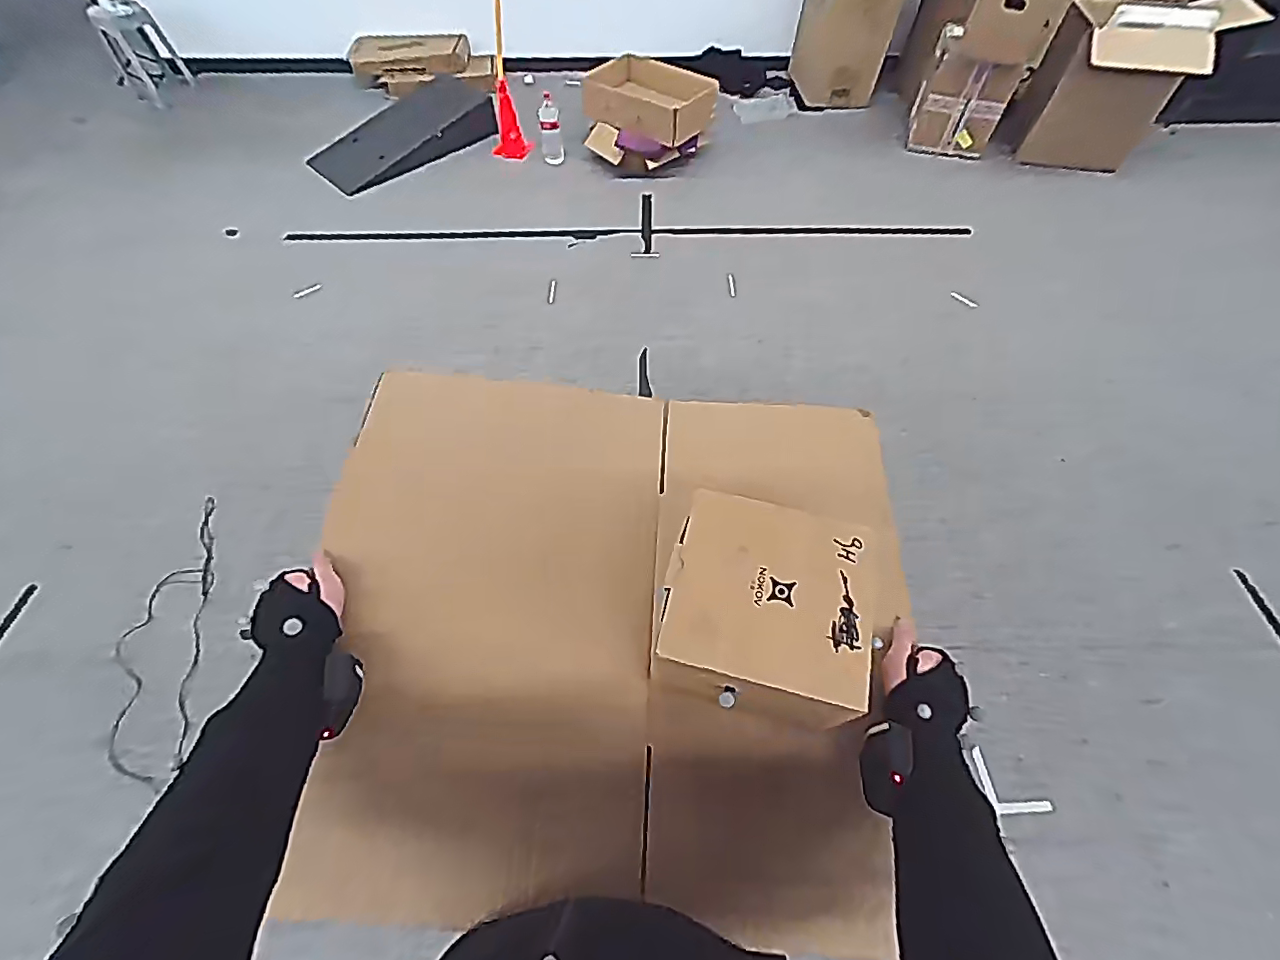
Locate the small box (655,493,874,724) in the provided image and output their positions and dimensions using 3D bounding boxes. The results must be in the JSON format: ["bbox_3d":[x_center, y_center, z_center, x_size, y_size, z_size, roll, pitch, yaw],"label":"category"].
[{"bbox_3d":[0.121,0.138,0.553,0.179,0.176,0.168,12,61,10],"label":"small box"}]
